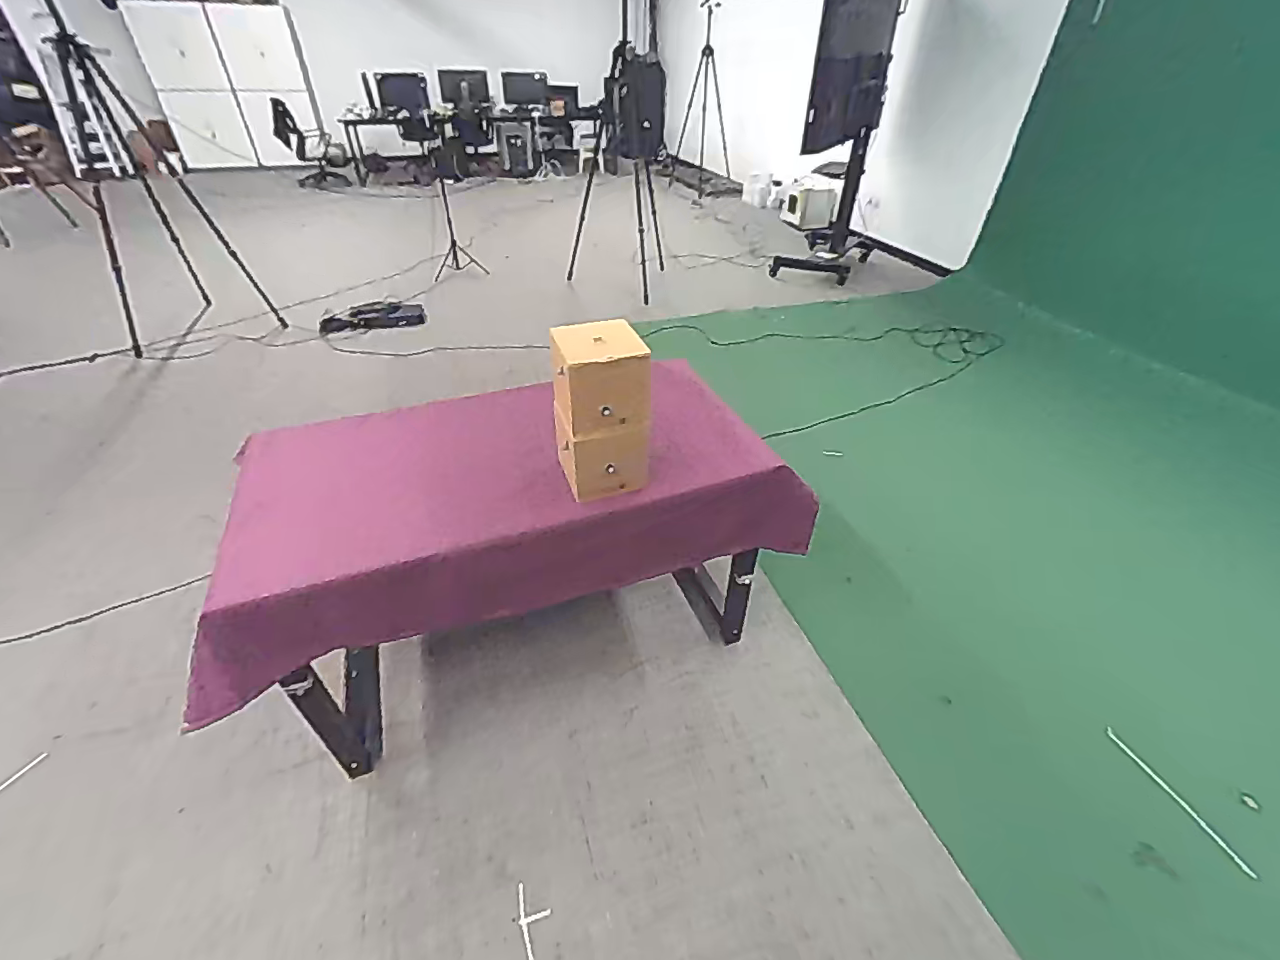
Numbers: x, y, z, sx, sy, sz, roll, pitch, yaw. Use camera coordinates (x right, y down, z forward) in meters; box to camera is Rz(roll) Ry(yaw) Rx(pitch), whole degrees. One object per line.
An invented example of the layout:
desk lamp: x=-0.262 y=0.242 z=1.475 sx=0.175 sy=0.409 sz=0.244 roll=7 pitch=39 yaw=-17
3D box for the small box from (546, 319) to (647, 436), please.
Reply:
small box: x=-0.093 y=-0.213 z=1.119 sx=0.168 sy=0.176 sz=0.179 roll=-13 pitch=42 yaw=-16

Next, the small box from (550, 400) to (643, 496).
small box: x=-0.097 y=-0.080 z=1.214 sx=0.168 sy=0.176 sz=0.179 roll=-12 pitch=41 yaw=-17
